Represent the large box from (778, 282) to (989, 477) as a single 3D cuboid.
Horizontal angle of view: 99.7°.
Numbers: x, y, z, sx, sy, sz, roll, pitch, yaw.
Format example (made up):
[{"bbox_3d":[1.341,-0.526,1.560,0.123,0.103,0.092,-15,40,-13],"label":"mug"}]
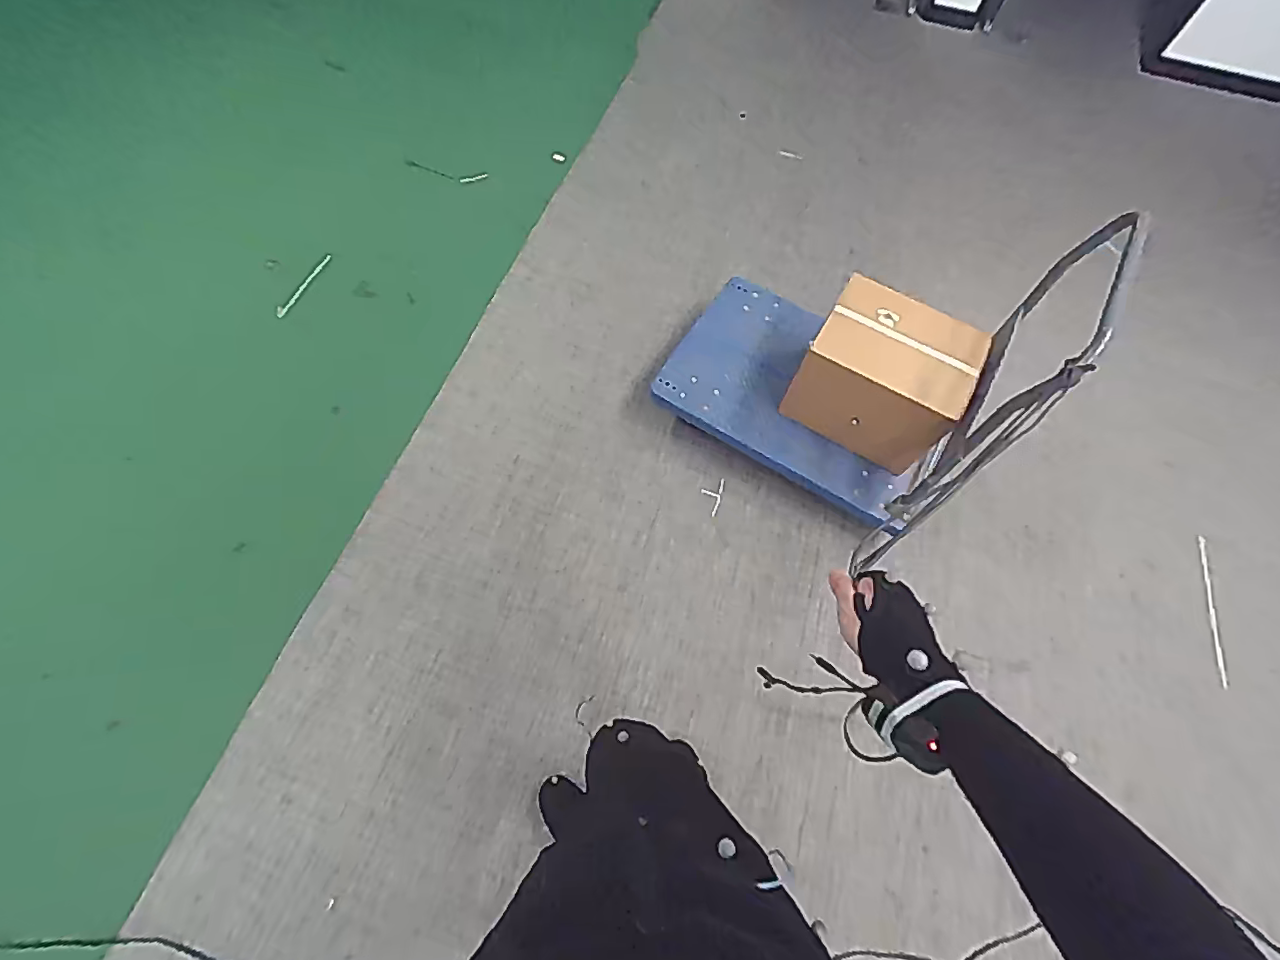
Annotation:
[{"bbox_3d":[0.664,-0.273,1.525,0.408,0.320,0.320,29,67,12],"label":"large box"}]
